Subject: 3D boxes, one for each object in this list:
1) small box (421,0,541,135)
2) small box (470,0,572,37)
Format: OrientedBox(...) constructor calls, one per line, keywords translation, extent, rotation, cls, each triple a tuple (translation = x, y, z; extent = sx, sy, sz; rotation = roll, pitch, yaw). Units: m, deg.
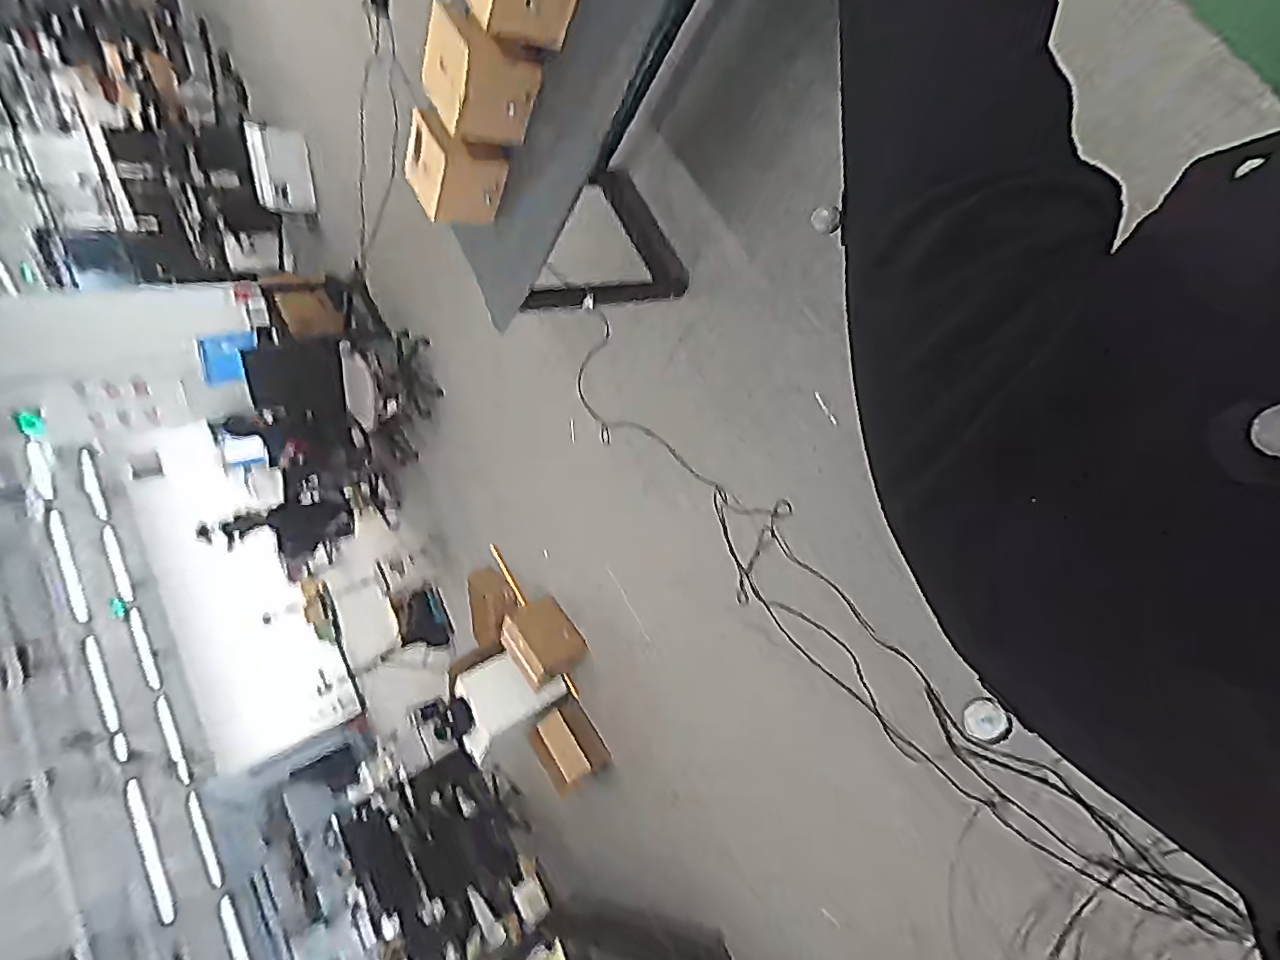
OrientedBox(translation=(-0.337, -0.865, 1.144), extent=(0.179, 0.176, 0.168), rotation=(60, 141, 13), cls="small box")
OrientedBox(translation=(-0.219, -0.945, 0.971), extent=(0.179, 0.176, 0.168), rotation=(61, 141, 13), cls="small box")
